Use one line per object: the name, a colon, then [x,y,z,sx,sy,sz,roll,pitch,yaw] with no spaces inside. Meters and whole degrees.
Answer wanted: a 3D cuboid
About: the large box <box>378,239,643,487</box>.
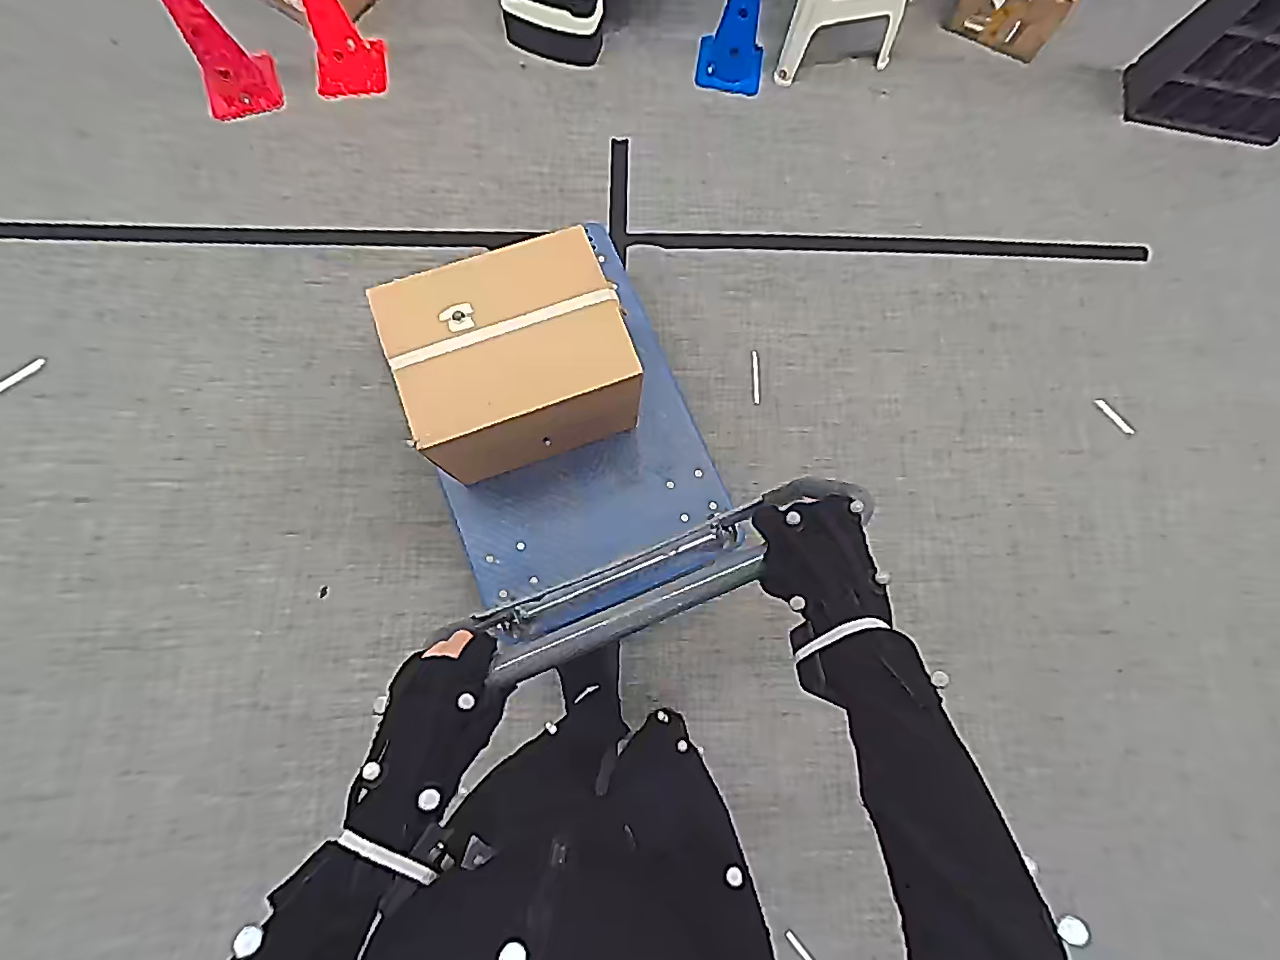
large box: [-0.238,-0.215,1.107,0.408,0.320,0.320,-20,80,-6]
